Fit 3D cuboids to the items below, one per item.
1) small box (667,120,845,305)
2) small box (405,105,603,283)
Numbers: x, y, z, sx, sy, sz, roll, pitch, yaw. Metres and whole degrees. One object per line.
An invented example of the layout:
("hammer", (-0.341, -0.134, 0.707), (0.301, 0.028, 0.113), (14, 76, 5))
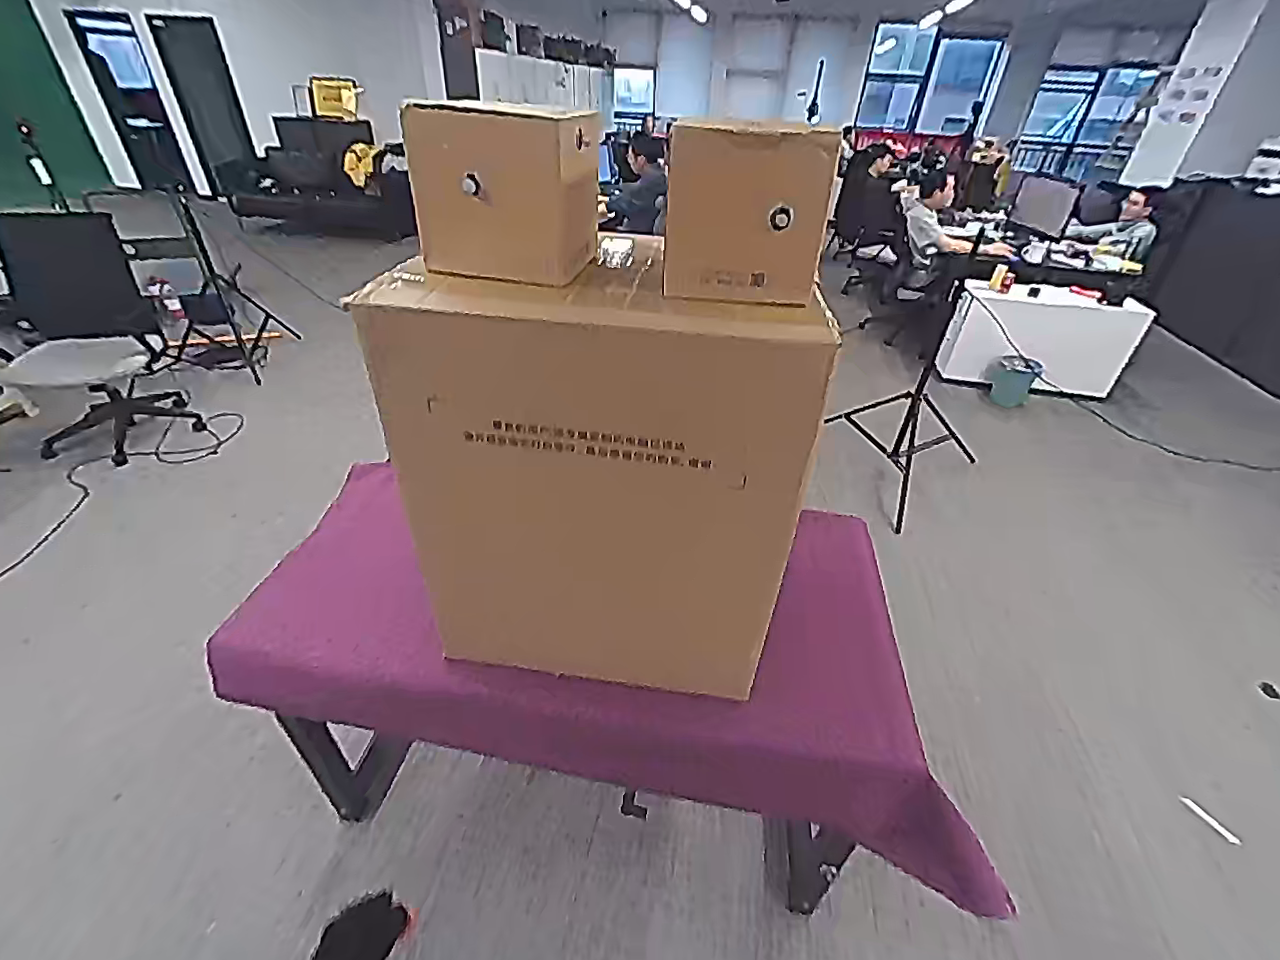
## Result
("small box", (0.123, -0.312, 0.627), (0.168, 0.176, 0.179), (6, 35, 4))
("small box", (-0.147, -0.346, 0.653), (0.179, 0.176, 0.168), (8, 36, 7))
